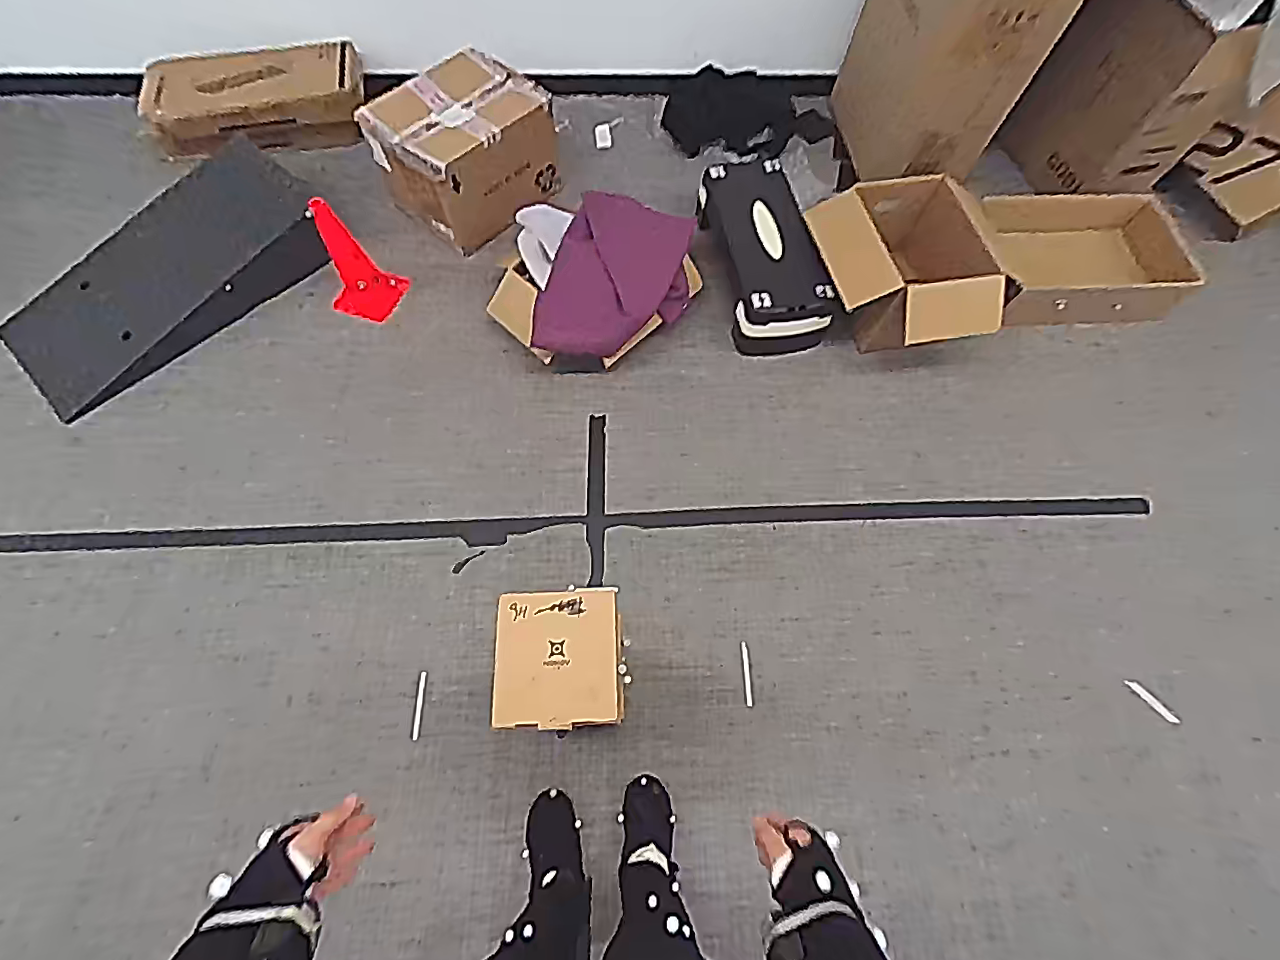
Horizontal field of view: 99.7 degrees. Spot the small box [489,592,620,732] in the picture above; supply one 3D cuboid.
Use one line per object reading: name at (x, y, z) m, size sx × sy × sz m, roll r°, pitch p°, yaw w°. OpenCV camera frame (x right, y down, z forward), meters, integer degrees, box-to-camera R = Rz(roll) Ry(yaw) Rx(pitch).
small box at (-0.116, 0.270, 0.800) m, size 0.168 × 0.176 × 0.179 m, roll -2°, pitch 67°, yaw -2°
